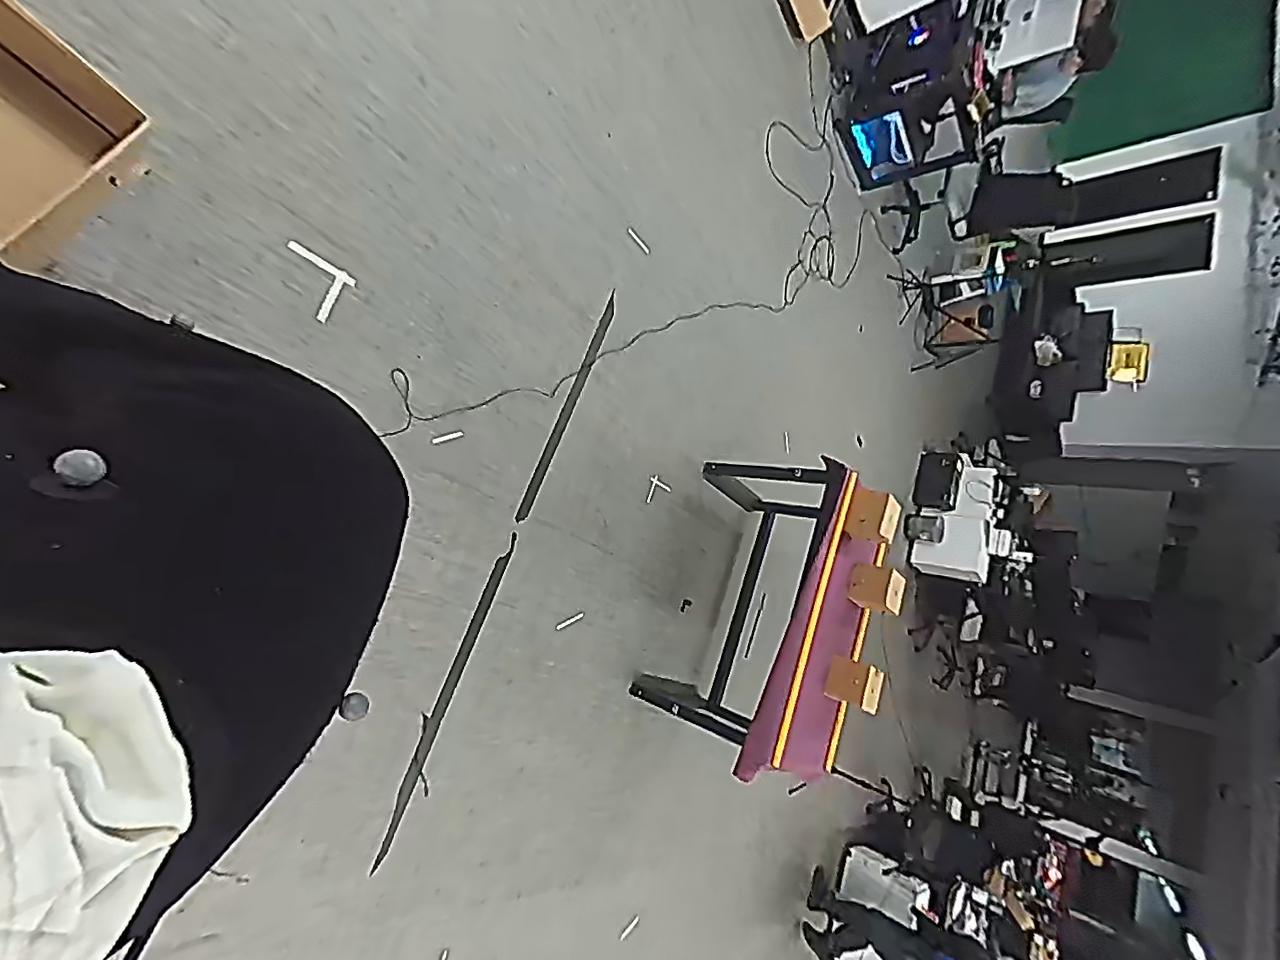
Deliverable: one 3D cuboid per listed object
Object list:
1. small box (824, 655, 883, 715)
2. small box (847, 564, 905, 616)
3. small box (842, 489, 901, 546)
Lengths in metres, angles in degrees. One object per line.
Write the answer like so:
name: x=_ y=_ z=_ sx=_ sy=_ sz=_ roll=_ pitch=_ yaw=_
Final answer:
small box: x=0.902 y=0.867 z=2.290 sx=0.168 sy=0.176 sz=0.179 roll=34 pitch=69 yaw=-41
small box: x=1.047 y=0.484 z=2.398 sx=0.179 sy=0.176 sz=0.168 roll=34 pitch=70 yaw=-41
small box: x=0.970 y=0.156 z=2.279 sx=0.168 sy=0.176 sz=0.179 roll=34 pitch=73 yaw=-43
